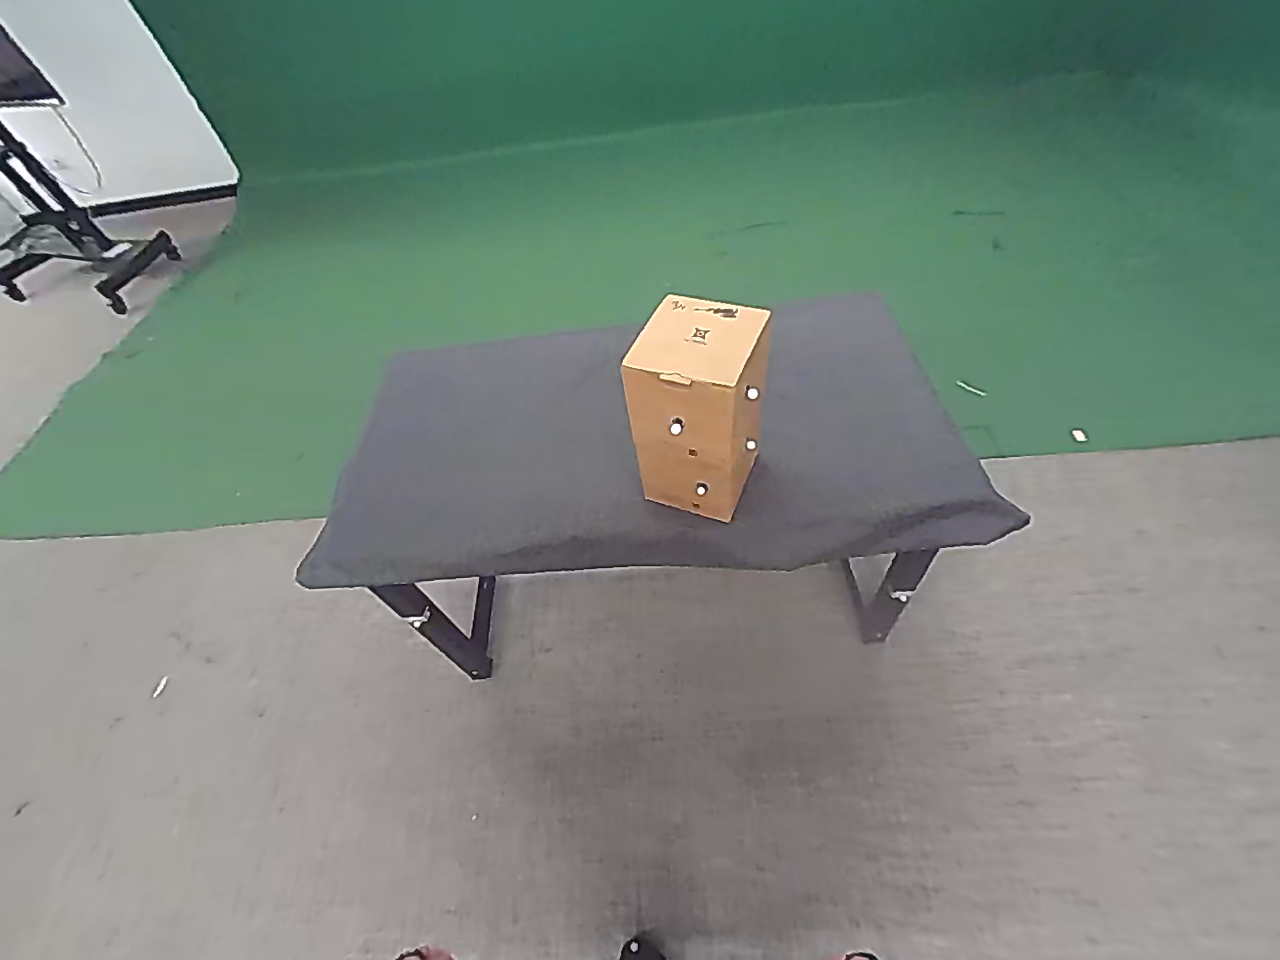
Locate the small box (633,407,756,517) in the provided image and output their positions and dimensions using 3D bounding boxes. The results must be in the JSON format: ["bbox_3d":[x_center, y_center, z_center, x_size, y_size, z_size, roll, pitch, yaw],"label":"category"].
[{"bbox_3d":[0.104,-0.060,0.960,0.168,0.176,0.179,16,55,18],"label":"small box"}]

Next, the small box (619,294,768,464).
[{"bbox_3d":[0.088,-0.150,0.824,0.168,0.176,0.179,17,58,18],"label":"small box"}]
